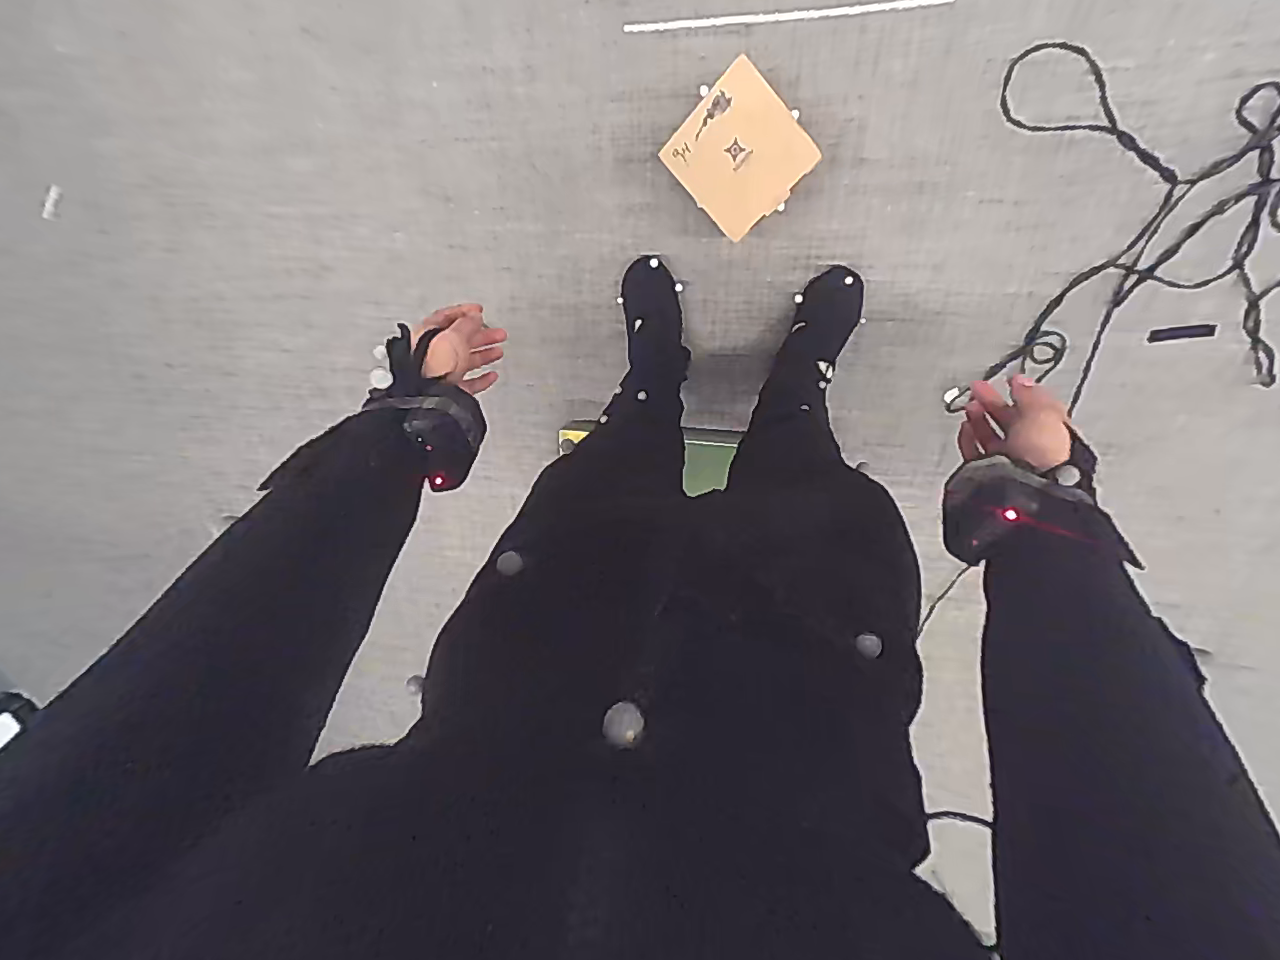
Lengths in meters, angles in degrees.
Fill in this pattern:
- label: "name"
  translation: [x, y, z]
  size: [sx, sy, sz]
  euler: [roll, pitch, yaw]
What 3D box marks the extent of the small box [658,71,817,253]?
- label: "small box"
  translation: [0.156, -0.496, 0.857]
  size: [0.179, 0.176, 0.168]
  euler: [44, 119, -13]
